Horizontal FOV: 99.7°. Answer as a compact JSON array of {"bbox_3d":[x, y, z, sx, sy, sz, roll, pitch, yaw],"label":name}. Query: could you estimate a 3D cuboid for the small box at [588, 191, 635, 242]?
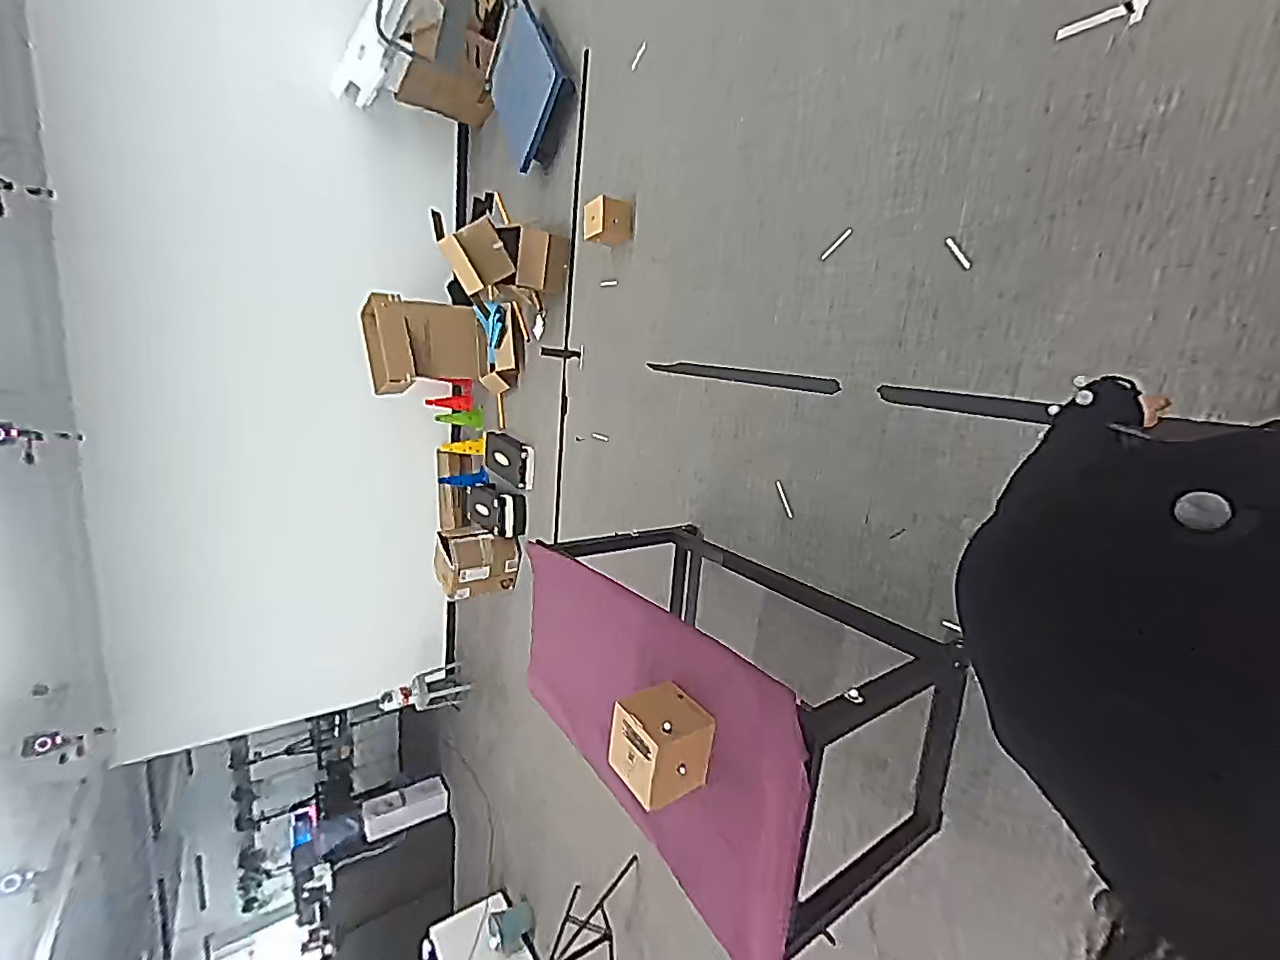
[{"bbox_3d":[-0.139,-1.280,2.633,0.179,0.176,0.168,11,101,54],"label":"small box"}]
